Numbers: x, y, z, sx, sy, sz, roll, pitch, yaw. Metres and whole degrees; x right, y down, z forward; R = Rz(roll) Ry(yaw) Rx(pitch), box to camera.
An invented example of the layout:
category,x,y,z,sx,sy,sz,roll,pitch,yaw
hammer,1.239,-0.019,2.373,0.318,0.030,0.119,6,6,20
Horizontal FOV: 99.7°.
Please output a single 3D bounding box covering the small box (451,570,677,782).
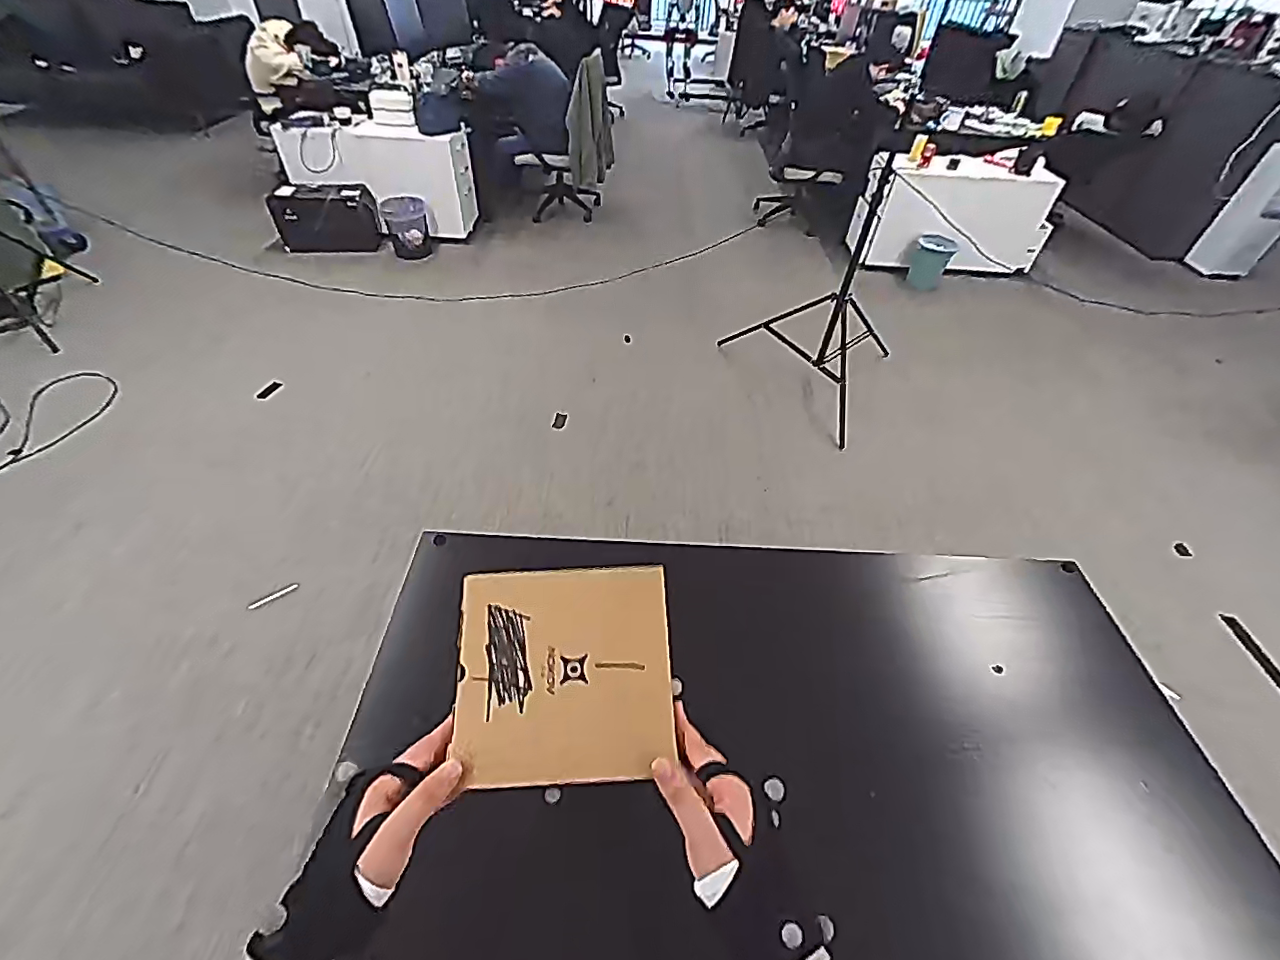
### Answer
category,x,y,z,sx,sy,sz,roll,pitch,yaw
small box,-0.061,0.193,0.518,0.179,0.176,0.168,-1,62,-3
